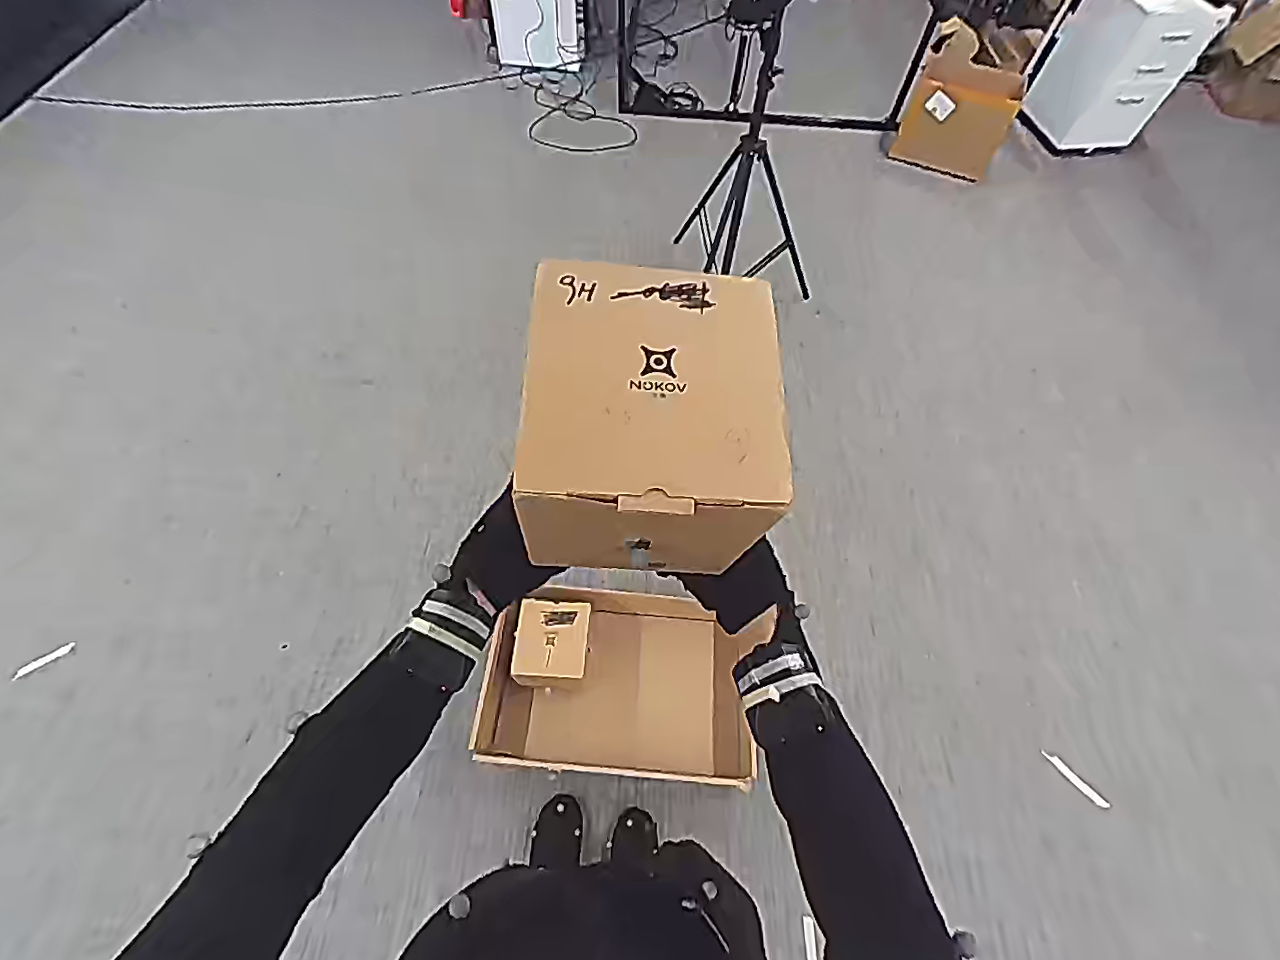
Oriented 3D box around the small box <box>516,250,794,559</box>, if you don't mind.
[{"bbox_3d":[0.005,-0.042,0.415,0.168,0.176,0.179,3,68,-5],"label":"small box"}]
